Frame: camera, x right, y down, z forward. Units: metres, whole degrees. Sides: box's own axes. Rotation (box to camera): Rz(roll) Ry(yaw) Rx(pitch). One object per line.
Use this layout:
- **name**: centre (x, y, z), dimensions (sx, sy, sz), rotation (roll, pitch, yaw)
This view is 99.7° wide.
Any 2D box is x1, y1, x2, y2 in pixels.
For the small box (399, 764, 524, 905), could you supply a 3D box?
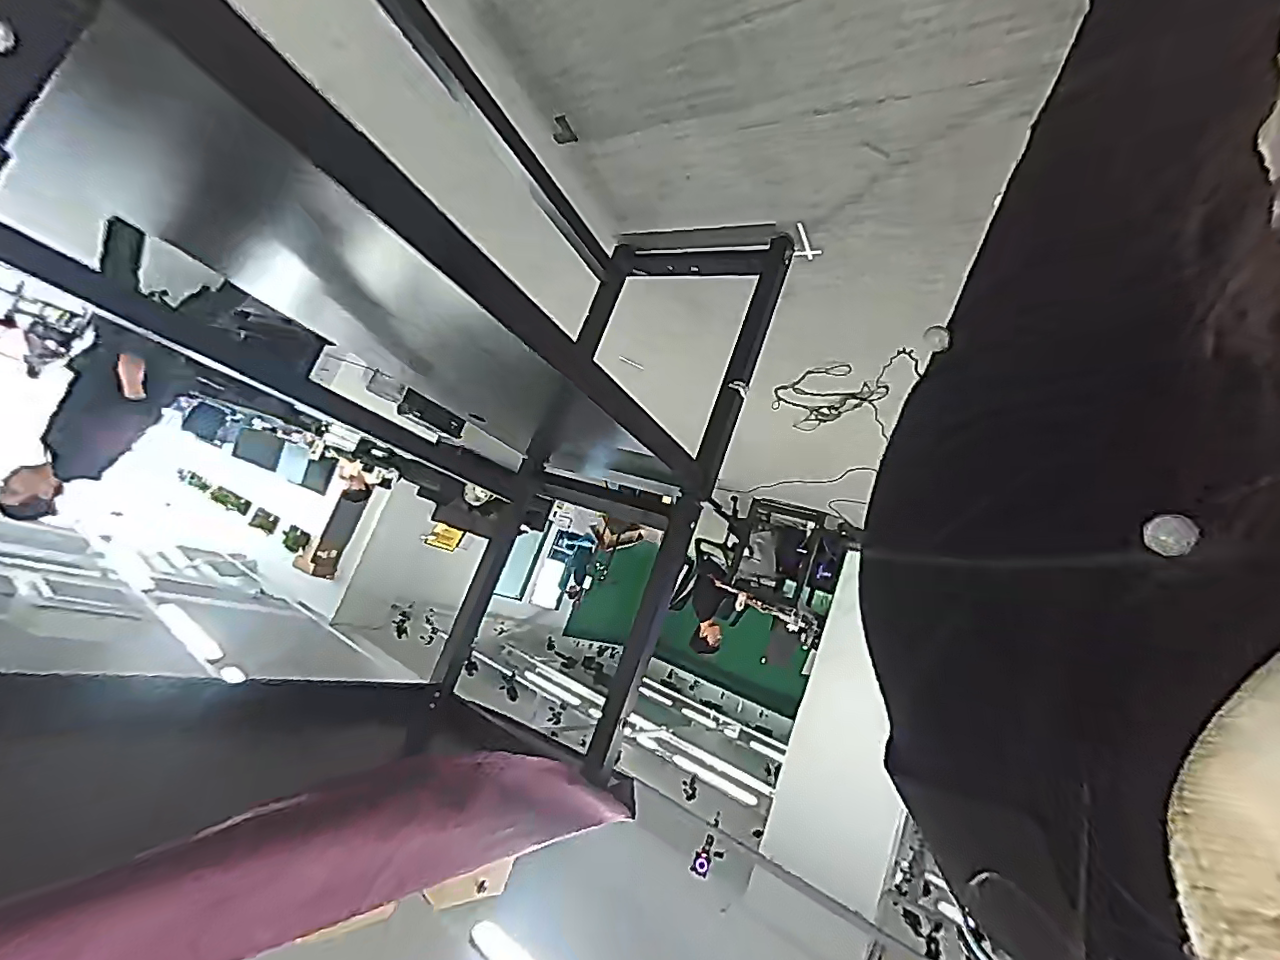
- **small box**: centre (-0.364, 0.696, 1.088), dimensions (0.179, 0.176, 0.168), rotation (12, 167, 41)
